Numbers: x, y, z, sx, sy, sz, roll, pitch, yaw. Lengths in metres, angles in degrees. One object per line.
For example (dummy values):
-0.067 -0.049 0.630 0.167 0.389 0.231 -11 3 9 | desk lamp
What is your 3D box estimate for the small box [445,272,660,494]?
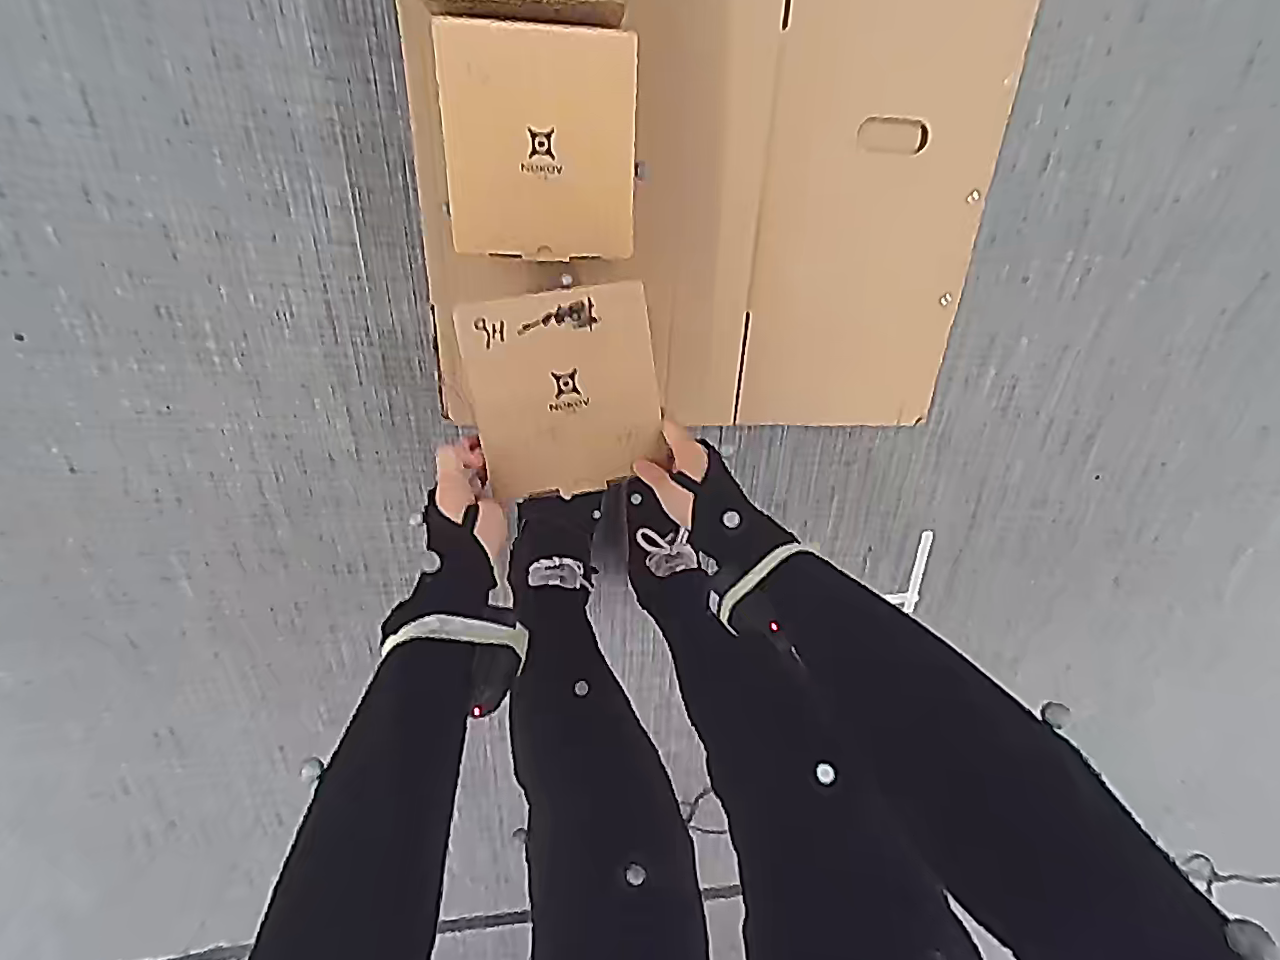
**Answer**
-0.083 -0.102 0.548 0.168 0.176 0.179 -11 105 -9 | small box
